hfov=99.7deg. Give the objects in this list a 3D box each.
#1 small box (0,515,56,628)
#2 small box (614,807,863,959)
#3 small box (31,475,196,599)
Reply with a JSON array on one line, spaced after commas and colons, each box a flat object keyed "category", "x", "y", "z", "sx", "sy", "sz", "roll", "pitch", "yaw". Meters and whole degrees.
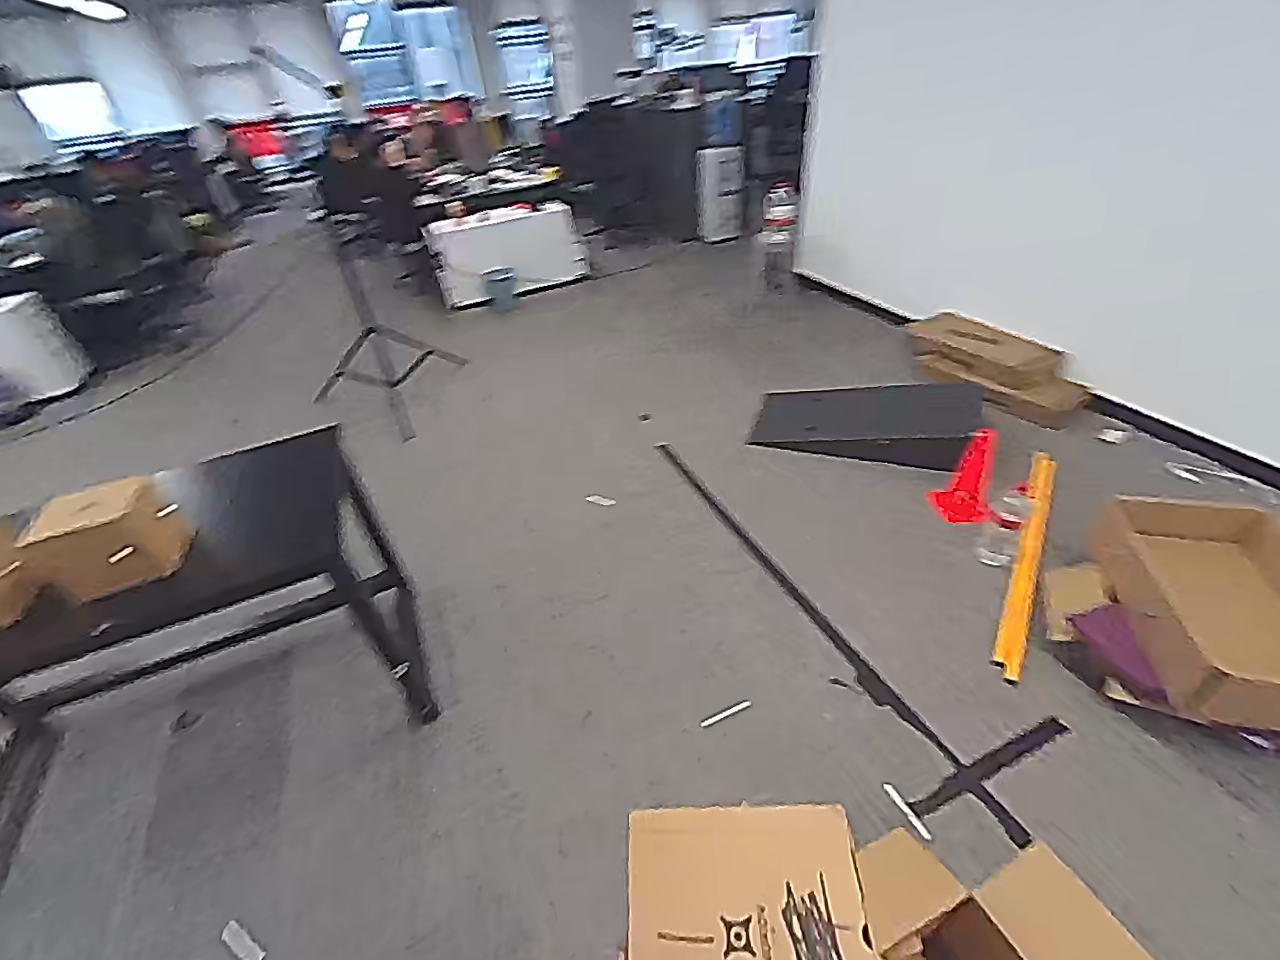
[{"category": "small box", "x": -1.357, "y": 0.204, "z": 1.086, "sx": 0.179, "sy": 0.176, "sz": 0.168, "roll": -18, "pitch": 39, "yaw": -15}, {"category": "small box", "x": 0.072, "y": 0.380, "z": 0.441, "sx": 0.179, "sy": 0.176, "sz": 0.168, "roll": -3, "pitch": 46, "yaw": 2}, {"category": "small box", "x": -1.106, "y": 0.122, "z": 1.159, "sx": 0.179, "sy": 0.176, "sz": 0.168, "roll": -20, "pitch": 38, "yaw": -15}]
